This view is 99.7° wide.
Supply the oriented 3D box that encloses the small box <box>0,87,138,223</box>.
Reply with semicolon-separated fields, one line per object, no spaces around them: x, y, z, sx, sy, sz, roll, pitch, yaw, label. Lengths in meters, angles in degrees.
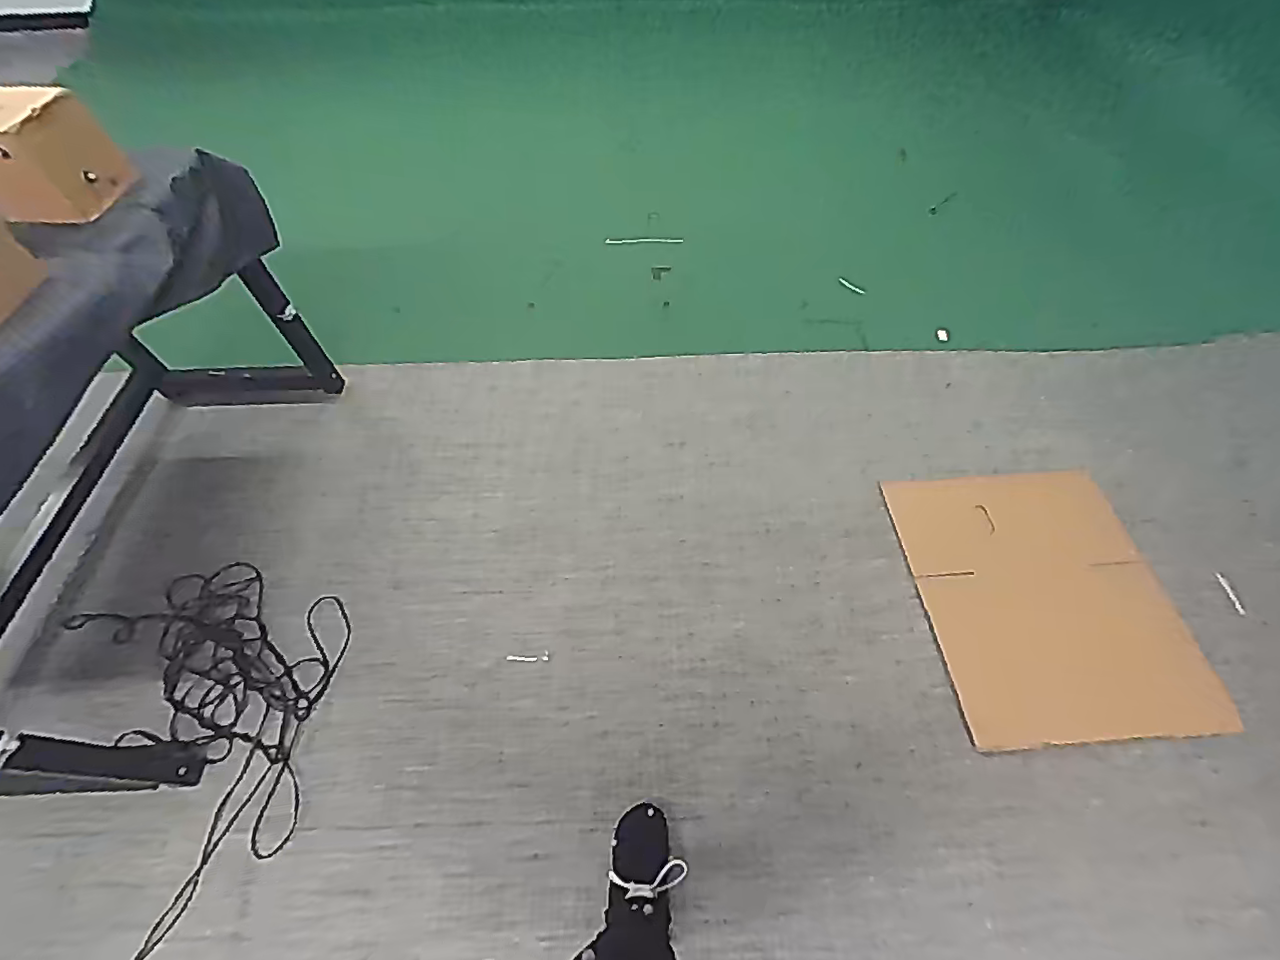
-1.130;-0.608;1.019;0.179;0.176;0.168;2;58;2;small box
